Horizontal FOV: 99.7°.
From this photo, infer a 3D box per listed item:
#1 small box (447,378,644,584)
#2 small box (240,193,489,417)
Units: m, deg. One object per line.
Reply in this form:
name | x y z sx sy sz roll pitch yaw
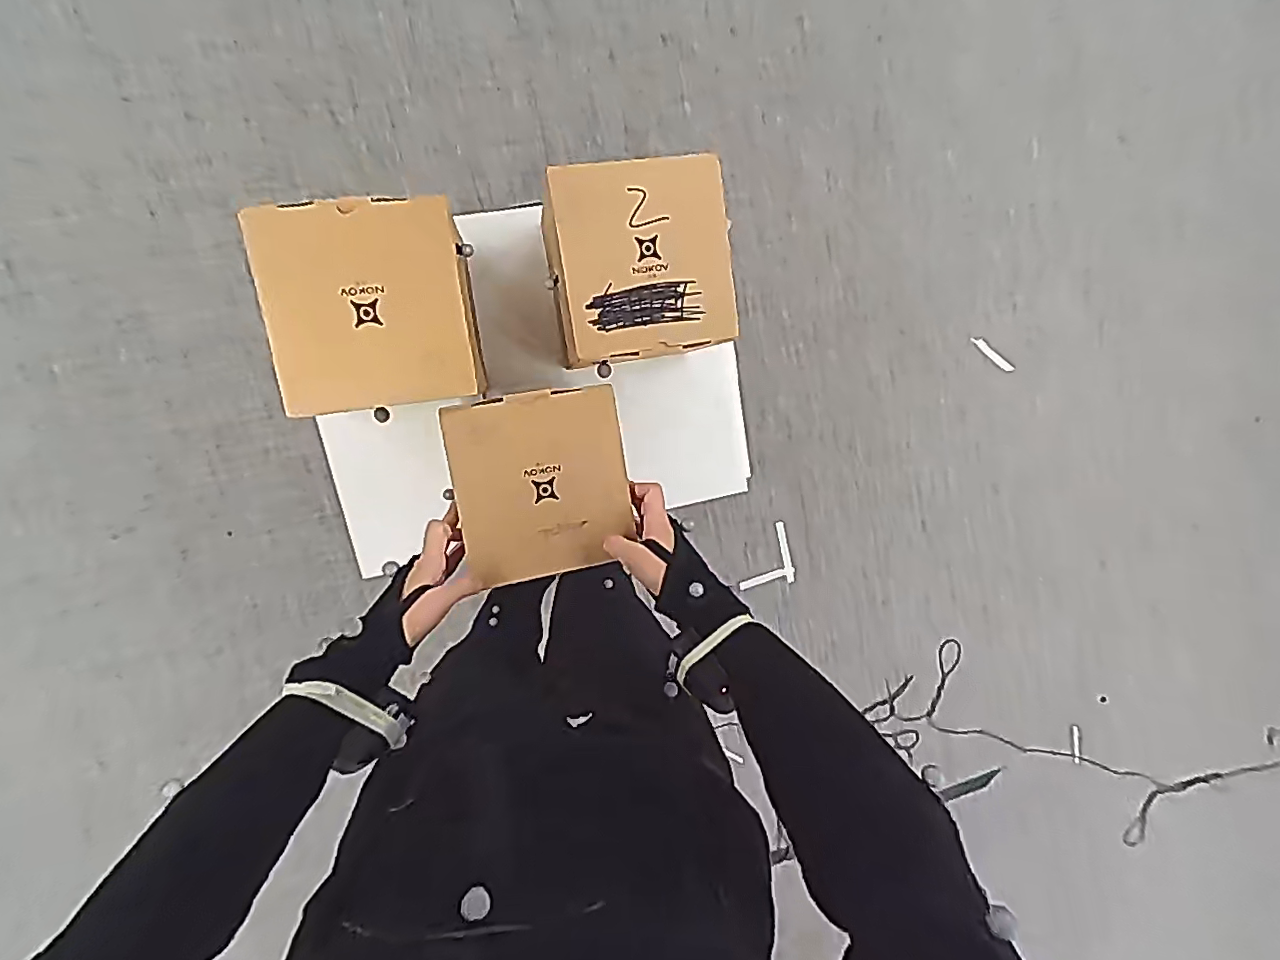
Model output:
small box | -0.106 -0.006 0.593 0.168 0.176 0.179 -11 98 -13
small box | -0.252 -0.165 0.545 0.168 0.176 0.179 -10 100 -11
